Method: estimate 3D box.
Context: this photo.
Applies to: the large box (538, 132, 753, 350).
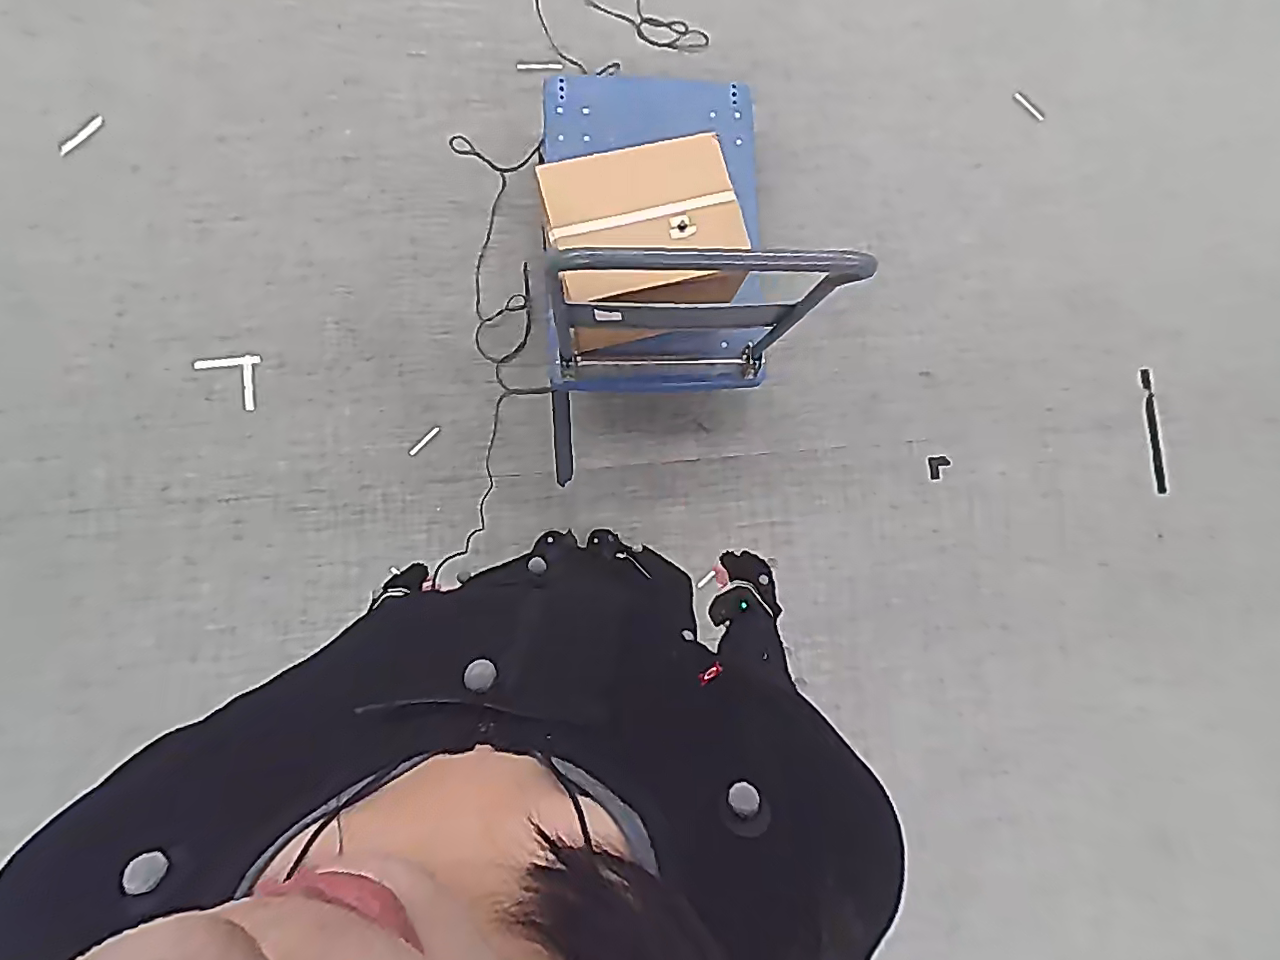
[{"bbox_3d":[-0.001,-0.547,1.293,0.408,0.320,0.320,-15,86,-7],"label":"large box"}]
